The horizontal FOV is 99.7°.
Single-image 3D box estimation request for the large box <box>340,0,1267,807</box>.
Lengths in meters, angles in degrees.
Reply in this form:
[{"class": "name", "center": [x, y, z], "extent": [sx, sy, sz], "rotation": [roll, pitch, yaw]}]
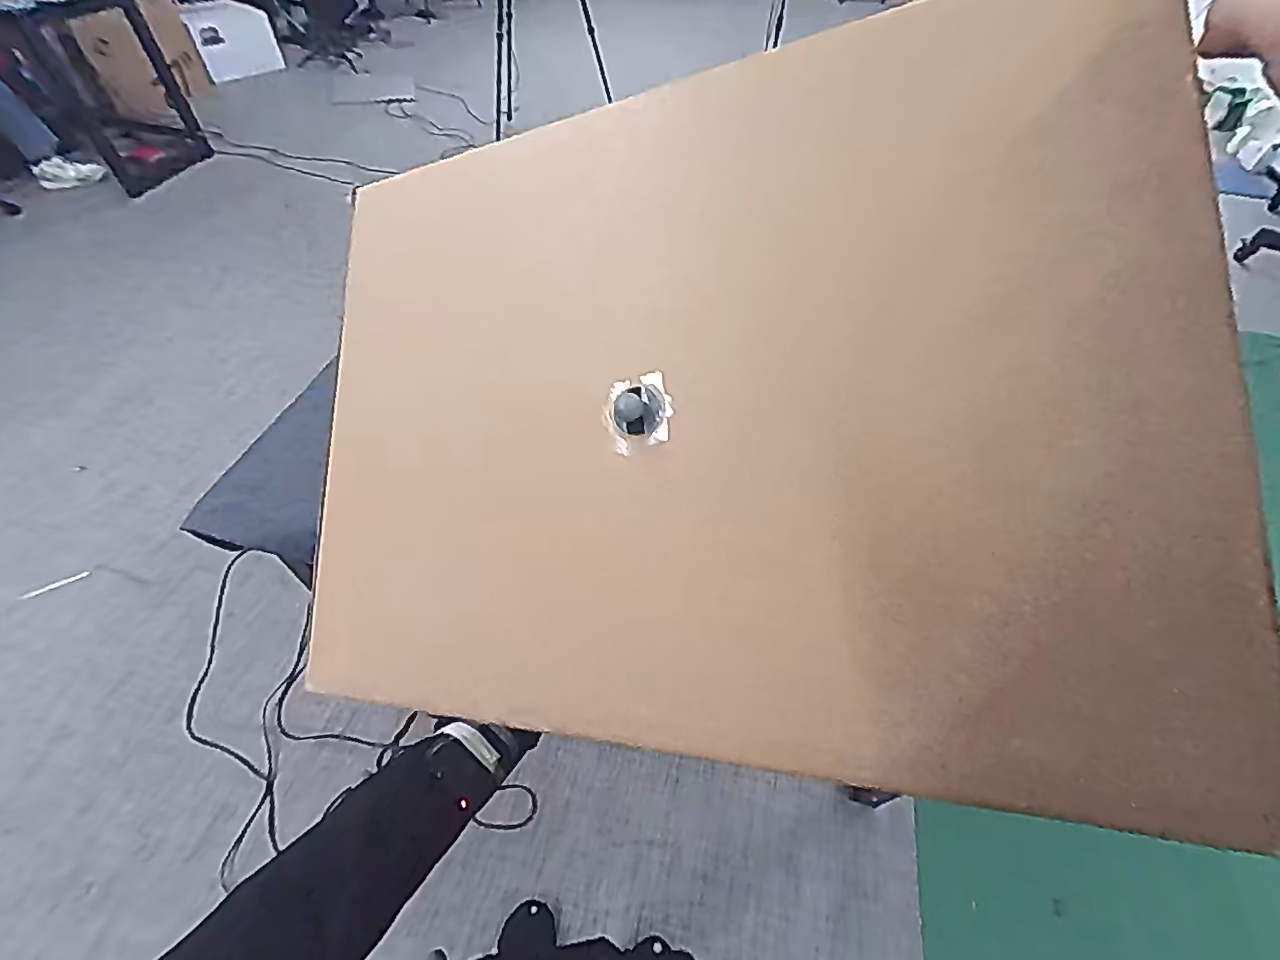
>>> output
[{"class": "large box", "center": [0.063, -0.011, 0.392], "extent": [0.408, 0.320, 0.320], "rotation": [-4, 80, 21]}]
